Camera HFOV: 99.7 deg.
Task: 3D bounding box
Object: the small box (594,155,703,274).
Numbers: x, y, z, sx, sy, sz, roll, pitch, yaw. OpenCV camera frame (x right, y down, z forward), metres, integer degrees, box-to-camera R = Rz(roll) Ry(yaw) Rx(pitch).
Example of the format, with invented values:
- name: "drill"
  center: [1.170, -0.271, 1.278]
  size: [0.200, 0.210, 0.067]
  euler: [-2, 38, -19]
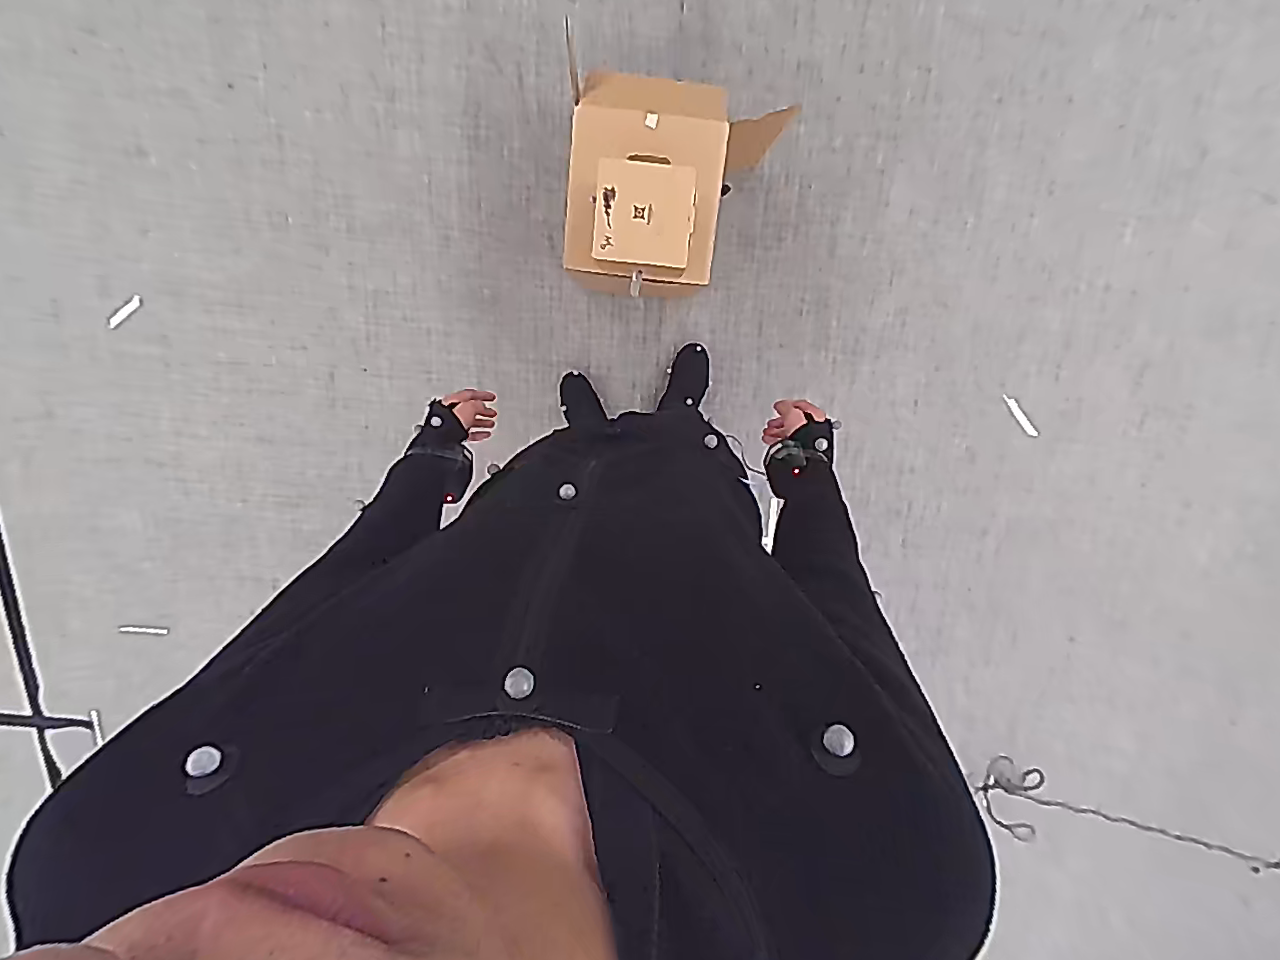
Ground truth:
- name: "small box"
  center: [0.012, -0.490, 1.024]
  size: [0.179, 0.176, 0.168]
  euler: [6, 106, -2]
